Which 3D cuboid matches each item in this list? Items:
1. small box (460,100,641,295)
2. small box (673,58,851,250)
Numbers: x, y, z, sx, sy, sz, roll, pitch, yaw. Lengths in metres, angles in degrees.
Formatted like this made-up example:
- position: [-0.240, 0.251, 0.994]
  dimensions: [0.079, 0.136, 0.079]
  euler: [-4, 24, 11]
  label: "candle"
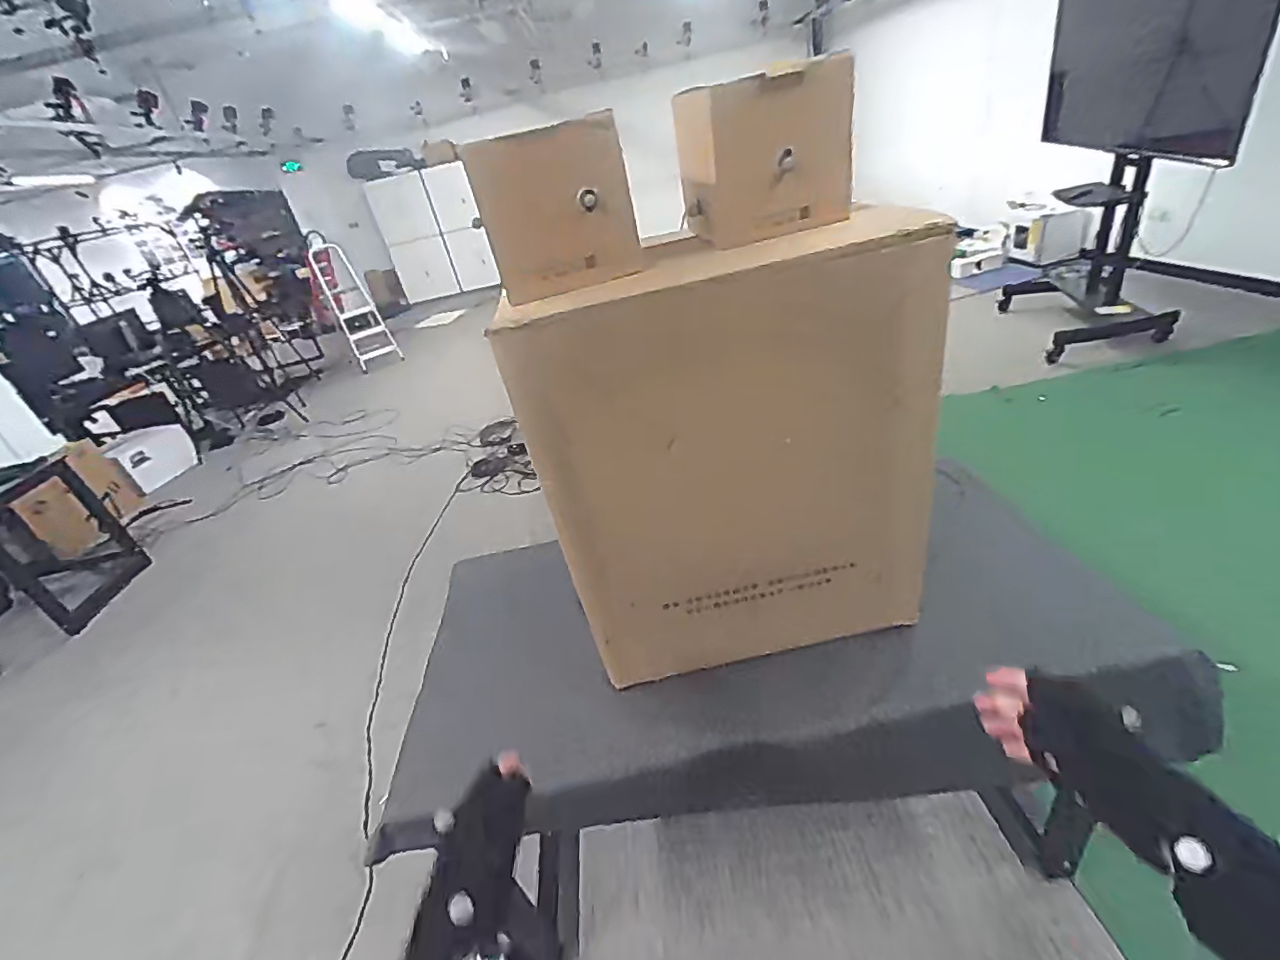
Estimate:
- position: [-0.108, -0.340, 0.661]
  dimensions: [0.168, 0.176, 0.179]
  euler: [-18, 34, -6]
  label: "small box"
- position: [0.151, -0.404, 0.686]
  dimensions: [0.168, 0.176, 0.179]
  euler: [-15, 34, -2]
  label: "small box"
